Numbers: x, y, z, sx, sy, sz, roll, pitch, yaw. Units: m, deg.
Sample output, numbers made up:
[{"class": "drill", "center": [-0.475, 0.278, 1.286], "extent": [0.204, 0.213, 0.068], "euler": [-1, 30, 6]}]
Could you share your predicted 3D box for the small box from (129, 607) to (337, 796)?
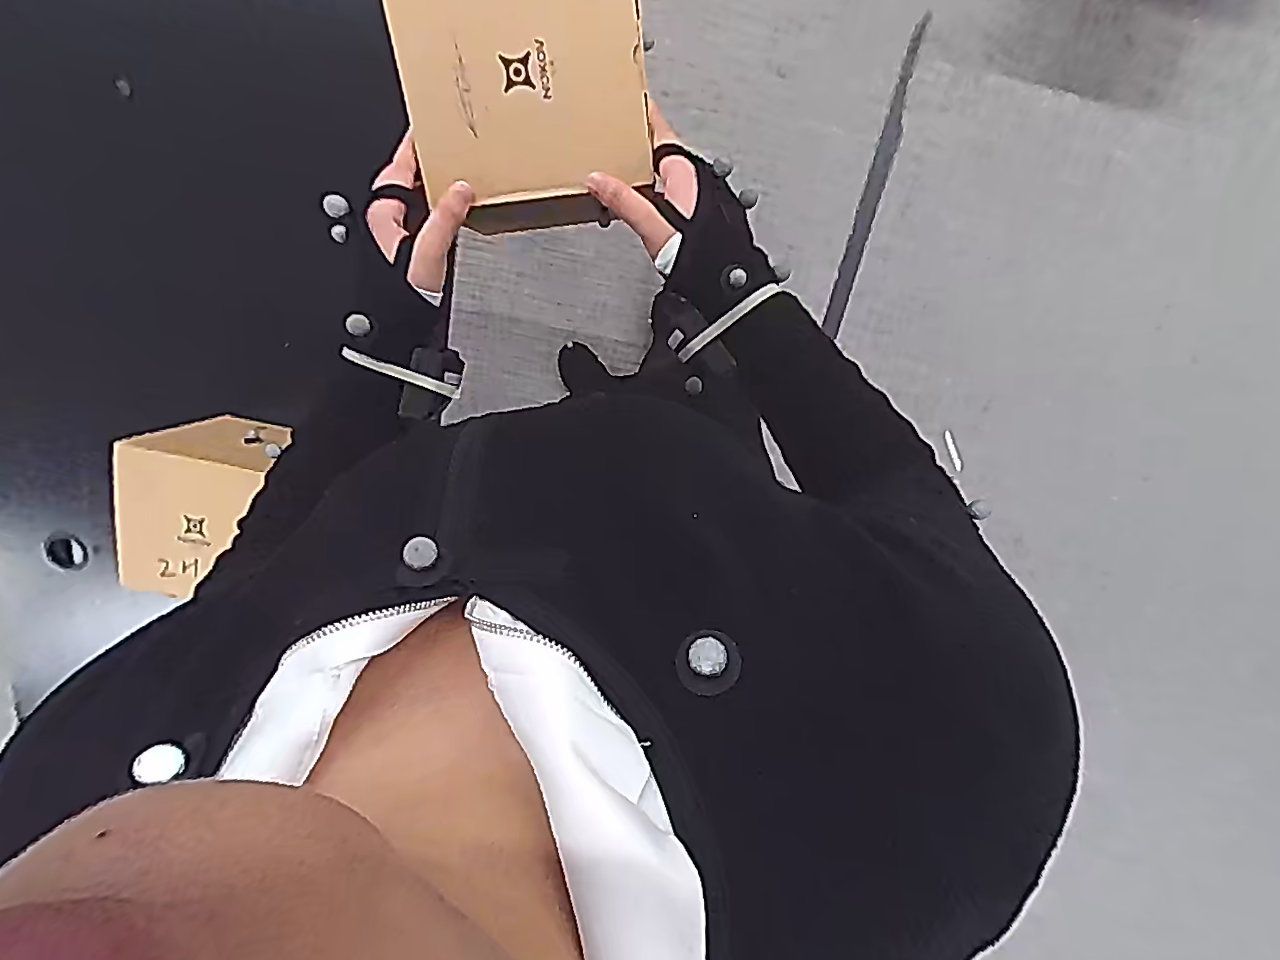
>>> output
[{"class": "small box", "center": [-0.545, 0.295, 0.752], "extent": [0.168, 0.176, 0.179], "euler": [8, 106, -3]}]

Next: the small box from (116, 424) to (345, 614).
[{"class": "small box", "center": [-0.494, 0.037, 0.676], "extent": [0.168, 0.176, 0.179], "euler": [12, 106, -4]}]

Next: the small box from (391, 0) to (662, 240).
[{"class": "small box", "center": [-0.080, -0.309, 0.461], "extent": [0.179, 0.176, 0.168], "euler": [-6, 107, 1]}]
